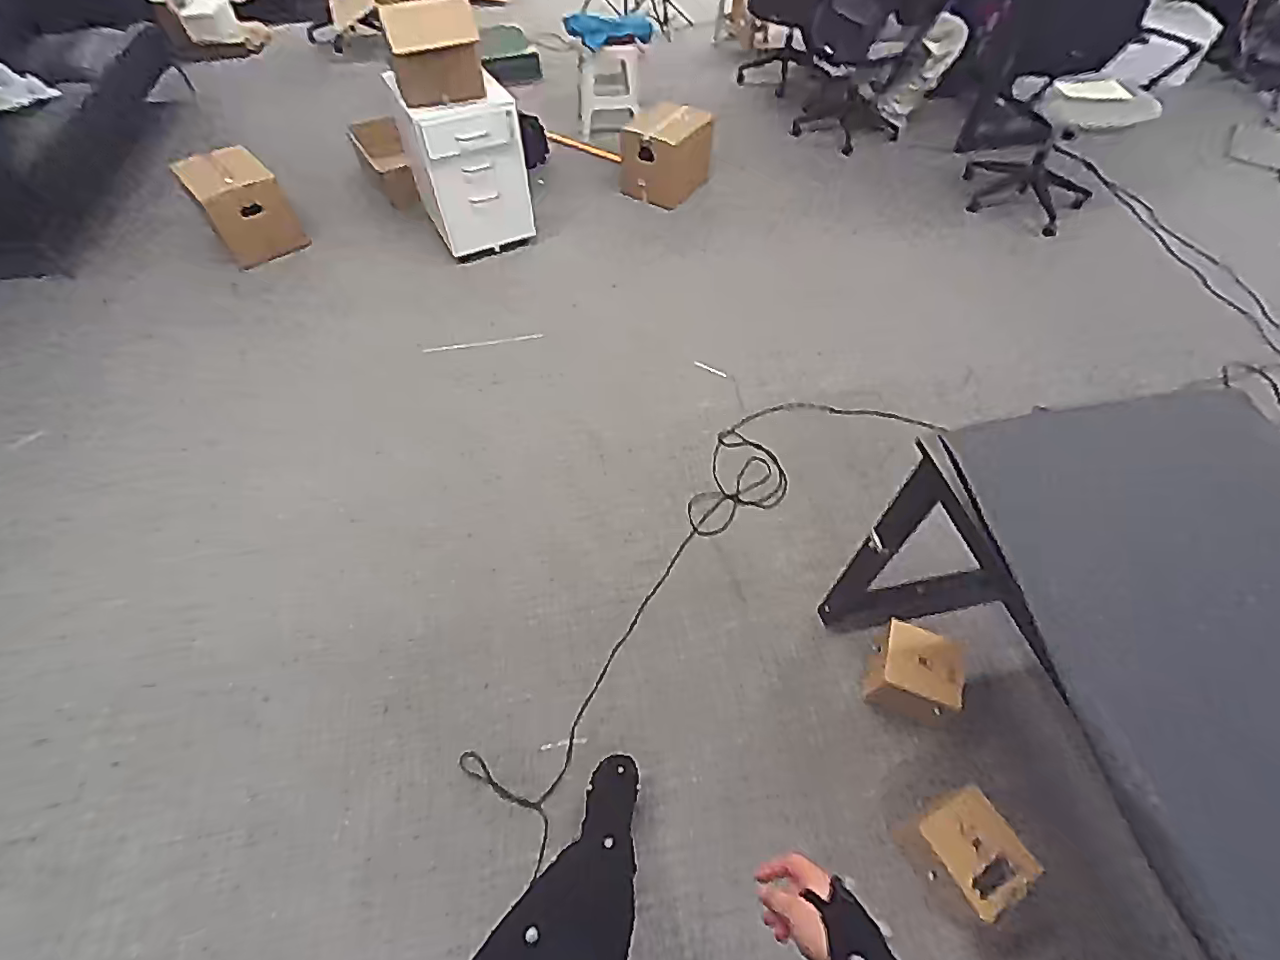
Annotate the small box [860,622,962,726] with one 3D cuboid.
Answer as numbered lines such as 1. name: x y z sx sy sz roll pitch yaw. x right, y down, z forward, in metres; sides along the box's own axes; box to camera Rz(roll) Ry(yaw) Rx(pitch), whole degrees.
1. small box: 0.669 0.487 1.345 0.179 0.176 0.168 19 55 12
